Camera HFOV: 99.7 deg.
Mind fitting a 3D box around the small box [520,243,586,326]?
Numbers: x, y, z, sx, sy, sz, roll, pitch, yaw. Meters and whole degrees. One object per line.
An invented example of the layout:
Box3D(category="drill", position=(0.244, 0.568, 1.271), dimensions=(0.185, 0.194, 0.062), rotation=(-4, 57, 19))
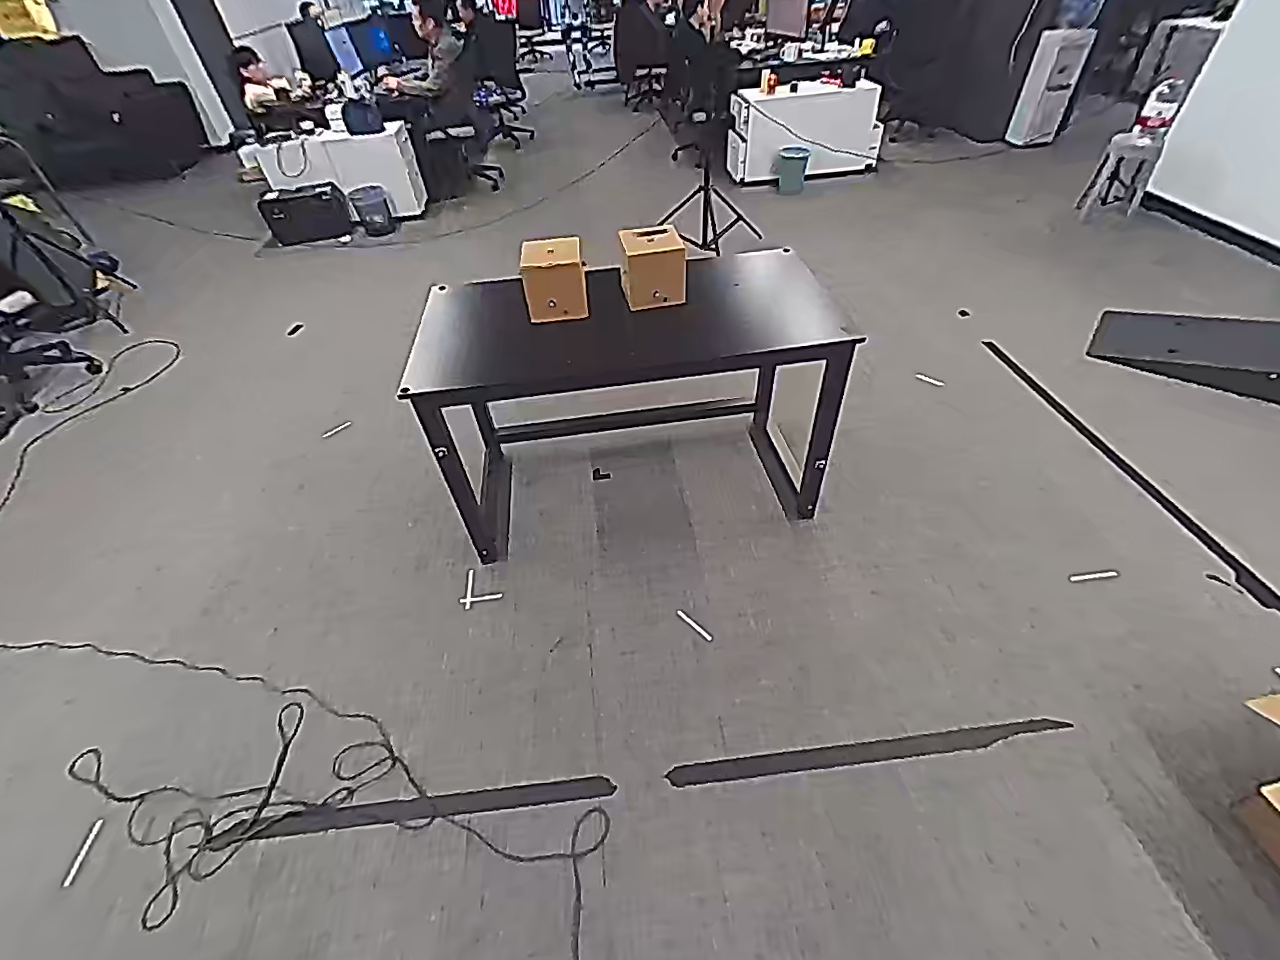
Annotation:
Box3D(category="small box", position=(-0.251, -0.572, 1.585), dimensions=(0.168, 0.176, 0.179), rotation=(-7, 45, -2))
